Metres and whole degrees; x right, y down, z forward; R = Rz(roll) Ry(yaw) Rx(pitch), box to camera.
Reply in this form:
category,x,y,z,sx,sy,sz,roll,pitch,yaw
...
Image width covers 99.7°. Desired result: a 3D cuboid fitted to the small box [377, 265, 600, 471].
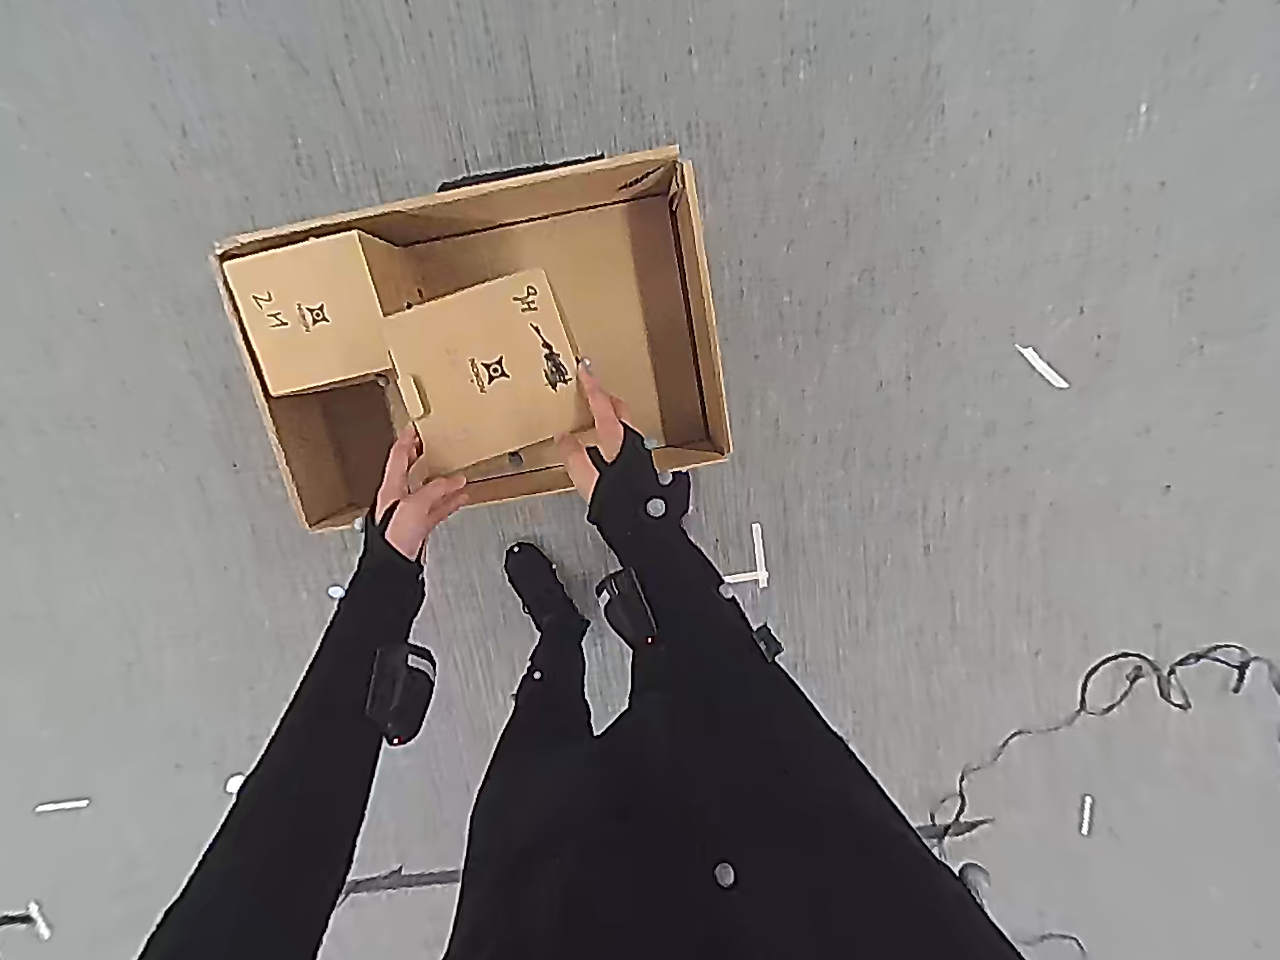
category,x,y,z,sx,sy,sz,roll,pitch,yaw
small box,-0.155,-0.113,0.616,0.179,0.176,0.168,-18,94,1
